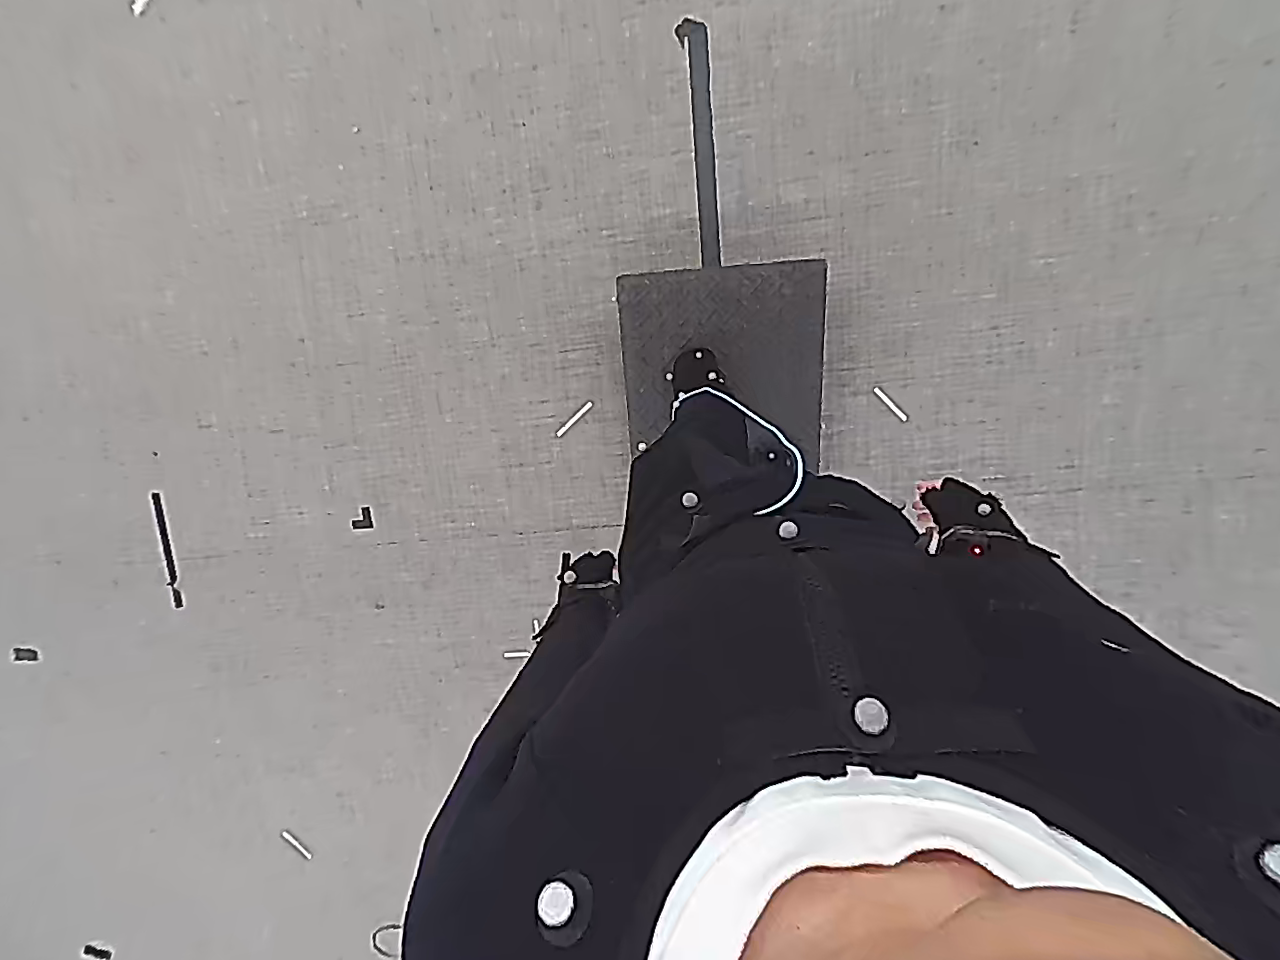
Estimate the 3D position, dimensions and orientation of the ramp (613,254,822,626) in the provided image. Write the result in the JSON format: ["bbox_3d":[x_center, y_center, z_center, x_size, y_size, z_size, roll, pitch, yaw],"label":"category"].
[{"bbox_3d":[0.217,-0.040,1.428,0.509,0.206,0.991,-4,100,7],"label":"ramp"}]
